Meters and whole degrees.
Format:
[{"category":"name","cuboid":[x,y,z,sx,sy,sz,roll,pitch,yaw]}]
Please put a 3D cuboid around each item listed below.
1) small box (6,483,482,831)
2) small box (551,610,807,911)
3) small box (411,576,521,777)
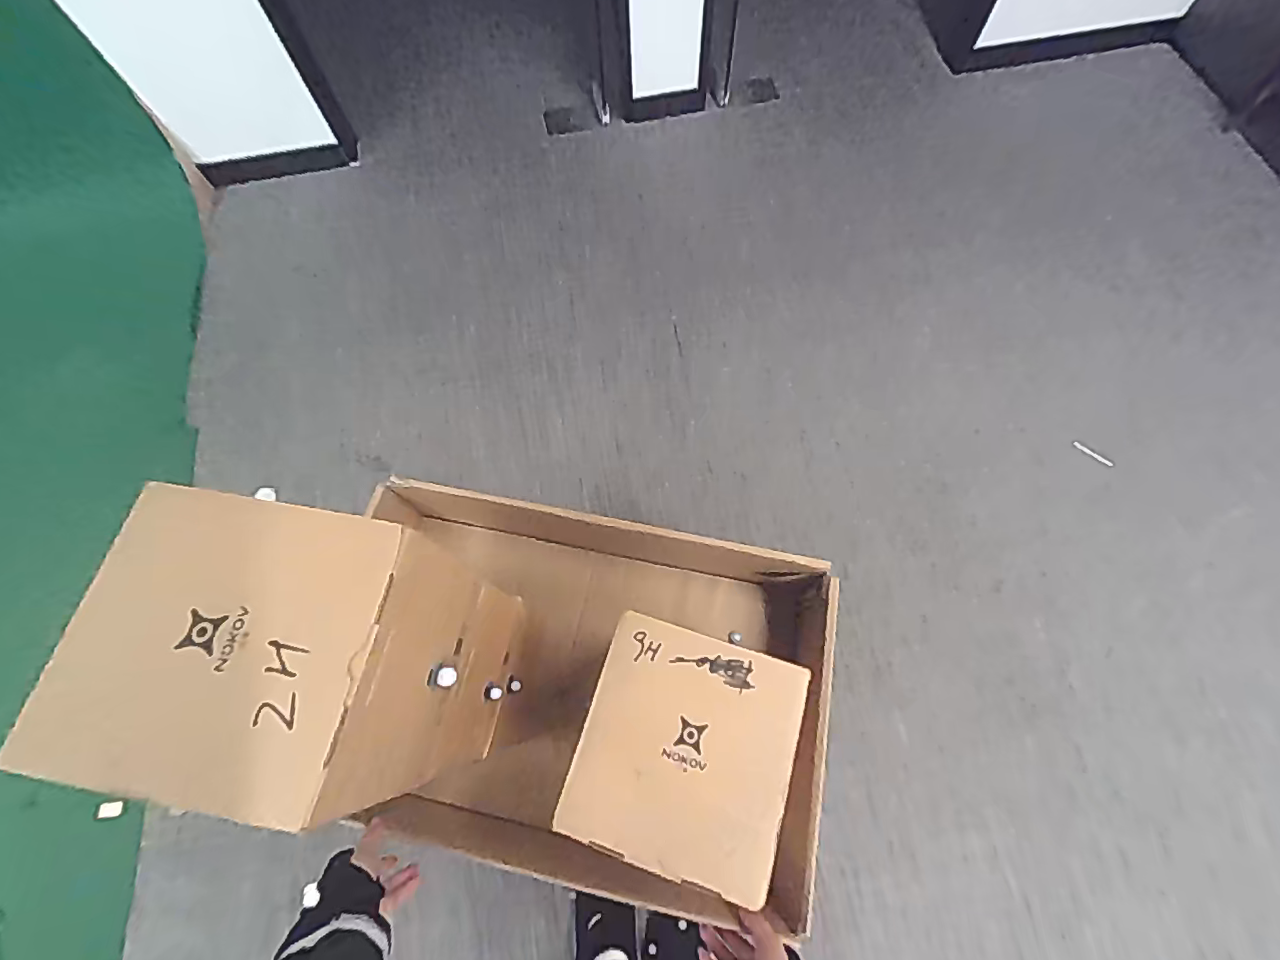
[{"category":"small box","cuboid":[-0.236,0.119,0.382,0.179,0.176,0.168,10,69,4]},{"category":"small box","cuboid":[0.037,0.241,0.503,0.168,0.176,0.179,18,70,7]},{"category":"small box","cuboid":[-0.236,0.177,0.536,0.179,0.176,0.168,11,69,4]}]
